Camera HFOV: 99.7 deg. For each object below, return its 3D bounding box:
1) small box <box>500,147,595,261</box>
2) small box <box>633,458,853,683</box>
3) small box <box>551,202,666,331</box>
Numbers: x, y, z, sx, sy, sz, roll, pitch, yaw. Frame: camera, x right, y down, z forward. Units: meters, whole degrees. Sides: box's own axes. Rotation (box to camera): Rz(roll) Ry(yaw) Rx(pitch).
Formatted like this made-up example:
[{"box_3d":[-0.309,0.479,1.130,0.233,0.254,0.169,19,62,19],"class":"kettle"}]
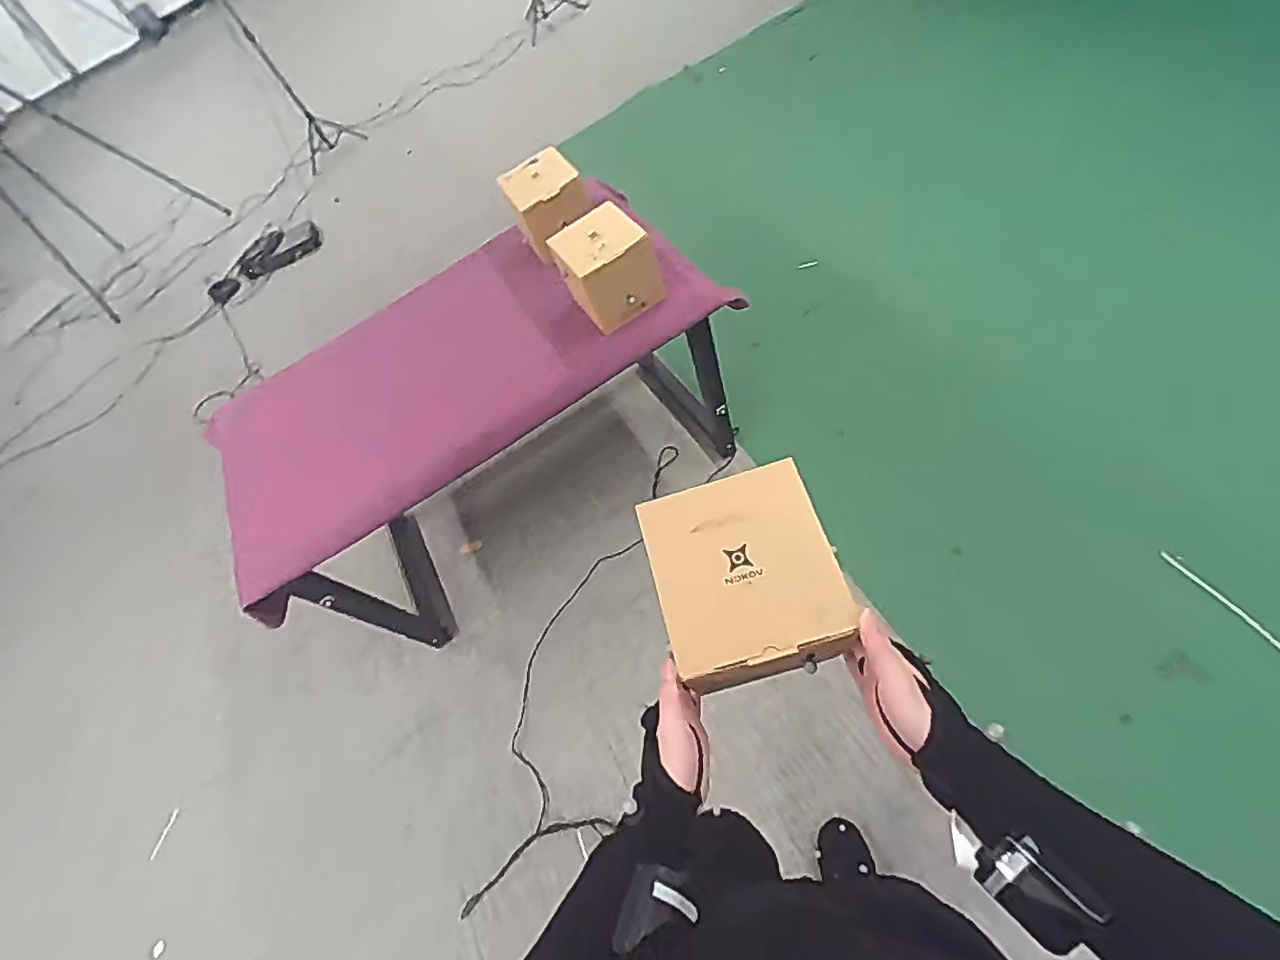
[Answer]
[{"box_3d":[-0.218,-0.685,1.363,0.168,0.176,0.179,-32,61,-2],"class":"small box"},{"box_3d":[0.104,0.108,0.574,0.168,0.176,0.179,-17,62,4],"class":"small box"},{"box_3d":[-0.065,-0.466,1.194,0.168,0.176,0.179,-34,57,-2],"class":"small box"}]
